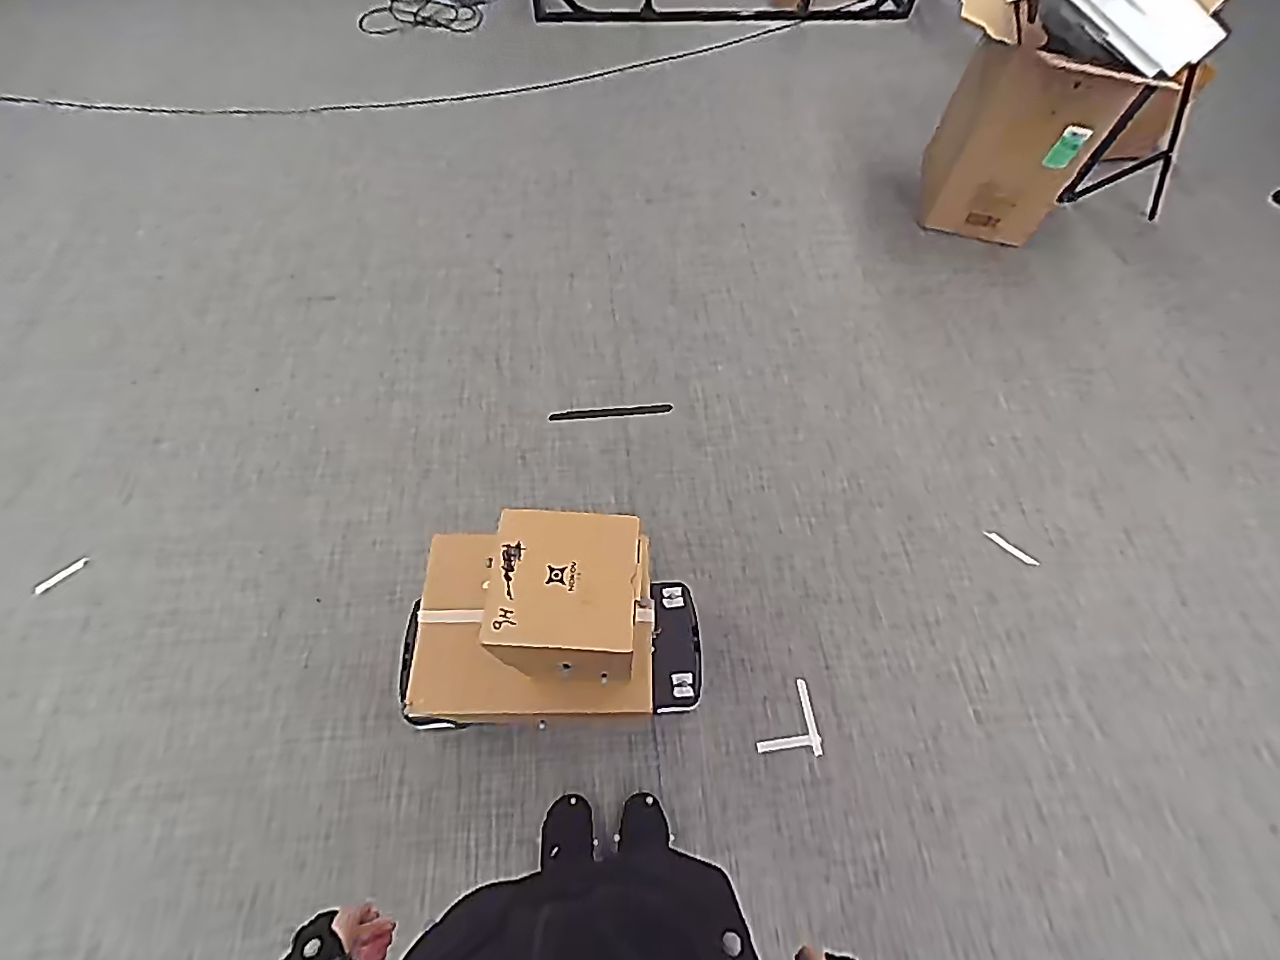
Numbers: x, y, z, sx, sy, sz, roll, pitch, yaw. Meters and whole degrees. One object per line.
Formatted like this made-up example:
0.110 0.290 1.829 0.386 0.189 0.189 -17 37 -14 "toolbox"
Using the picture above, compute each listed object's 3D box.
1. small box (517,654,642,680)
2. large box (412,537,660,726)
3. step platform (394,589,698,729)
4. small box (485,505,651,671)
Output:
-0.085 0.216 0.845 0.179 0.176 0.168 2 63 0 "small box"
-0.172 0.309 1.069 0.408 0.320 0.320 0 62 -1 "large box"
-0.204 0.422 1.278 0.684 0.204 0.286 2 63 0 "step platform"
-0.082 0.146 0.697 0.179 0.176 0.168 4 62 0 "small box"
